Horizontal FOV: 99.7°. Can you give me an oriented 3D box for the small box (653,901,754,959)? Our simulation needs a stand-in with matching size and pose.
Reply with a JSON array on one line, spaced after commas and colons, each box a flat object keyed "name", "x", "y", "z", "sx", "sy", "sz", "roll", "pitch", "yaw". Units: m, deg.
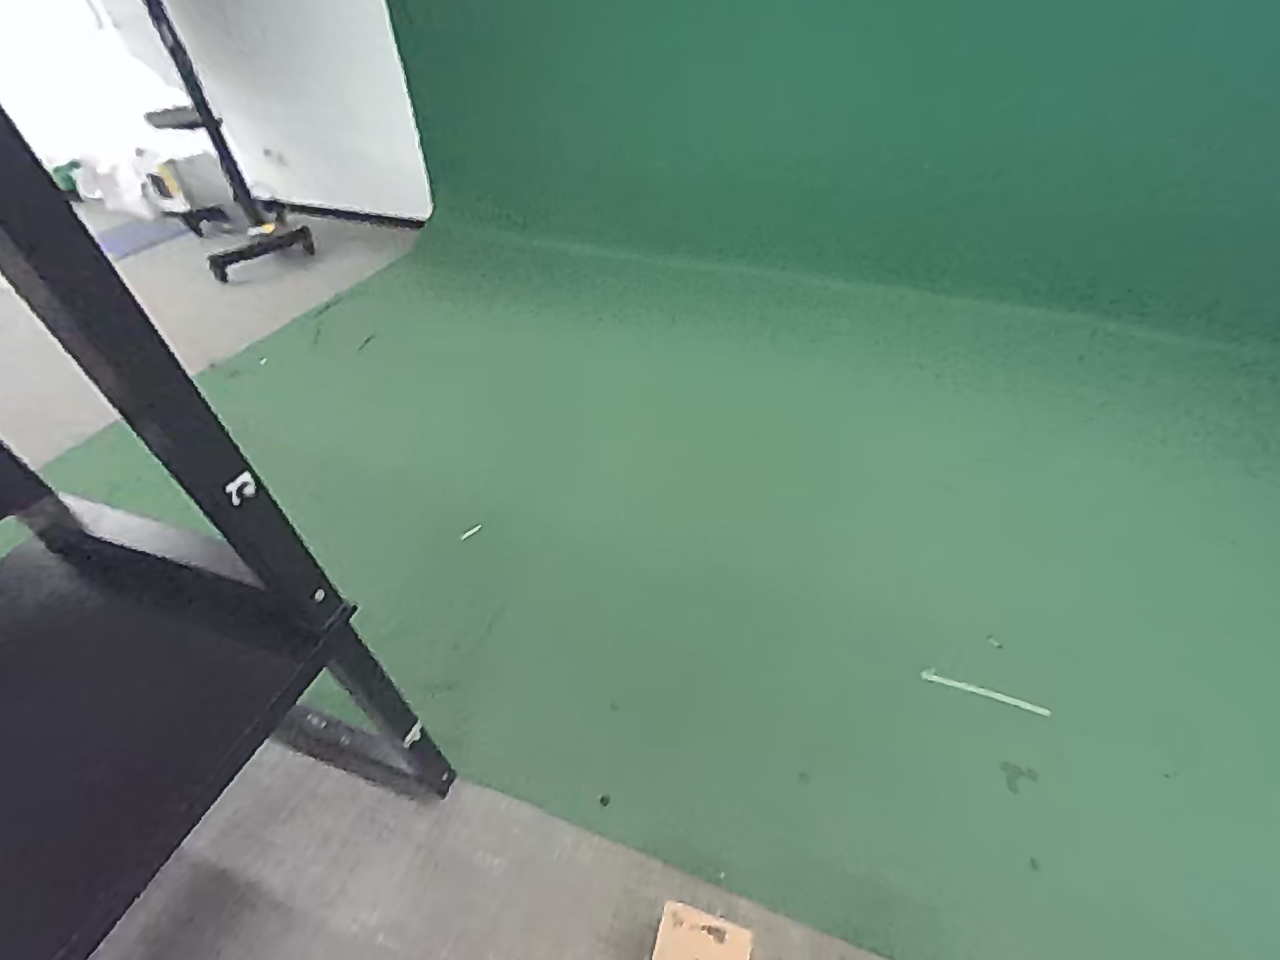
[{"name": "small box", "x": 0.102, "y": 0.909, "z": 0.977, "sx": 0.168, "sy": 0.176, "sz": 0.179, "roll": 12, "pitch": 45, "yaw": 13}]
